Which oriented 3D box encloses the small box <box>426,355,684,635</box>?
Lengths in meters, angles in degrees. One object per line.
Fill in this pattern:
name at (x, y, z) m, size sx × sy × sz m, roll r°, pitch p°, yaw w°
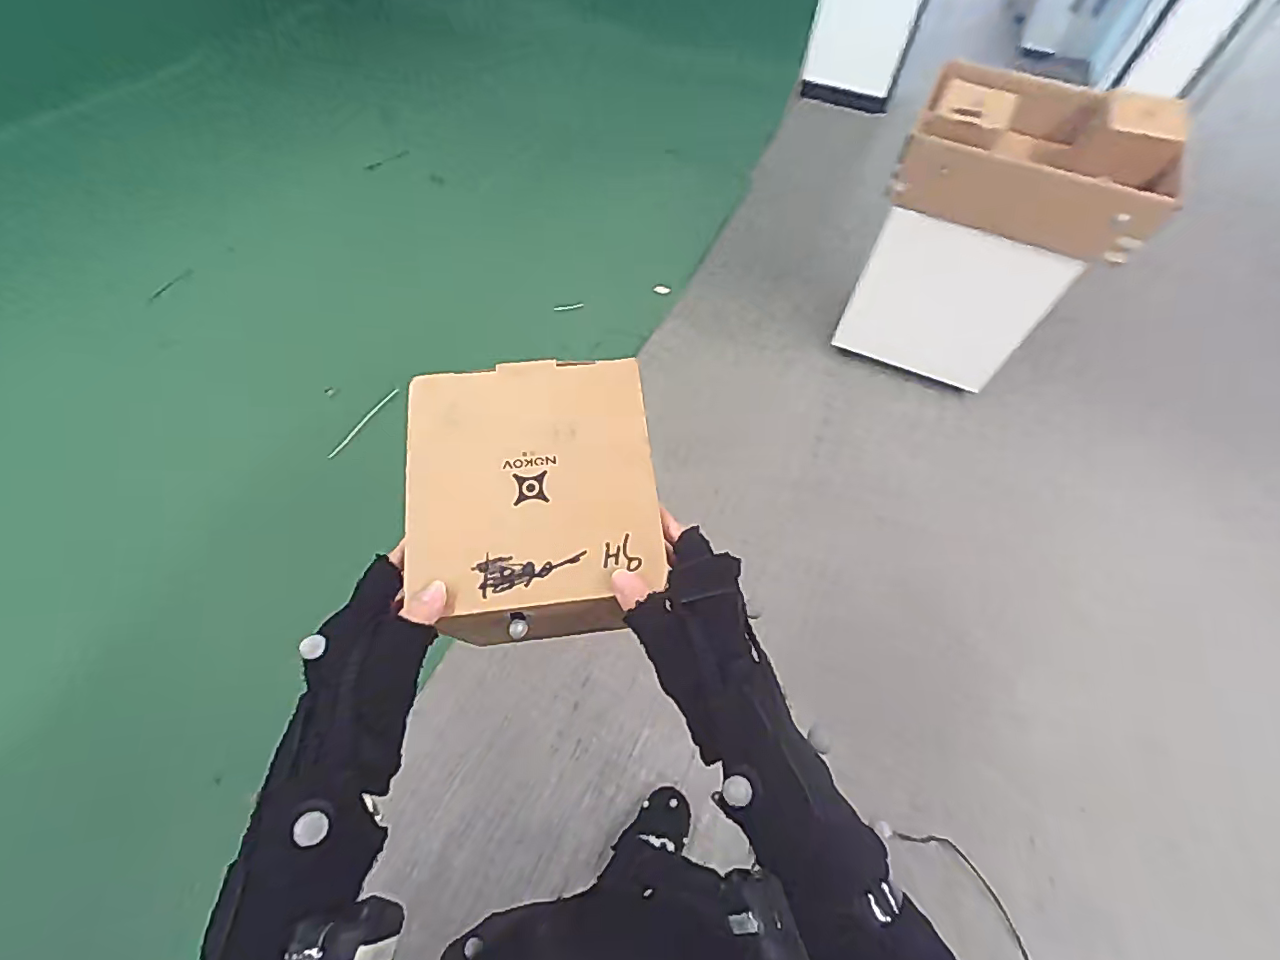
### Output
small box at (-0.062, 0.022, 0.446) m, size 0.168 × 0.176 × 0.179 m, roll -6°, pitch 68°, yaw -3°
